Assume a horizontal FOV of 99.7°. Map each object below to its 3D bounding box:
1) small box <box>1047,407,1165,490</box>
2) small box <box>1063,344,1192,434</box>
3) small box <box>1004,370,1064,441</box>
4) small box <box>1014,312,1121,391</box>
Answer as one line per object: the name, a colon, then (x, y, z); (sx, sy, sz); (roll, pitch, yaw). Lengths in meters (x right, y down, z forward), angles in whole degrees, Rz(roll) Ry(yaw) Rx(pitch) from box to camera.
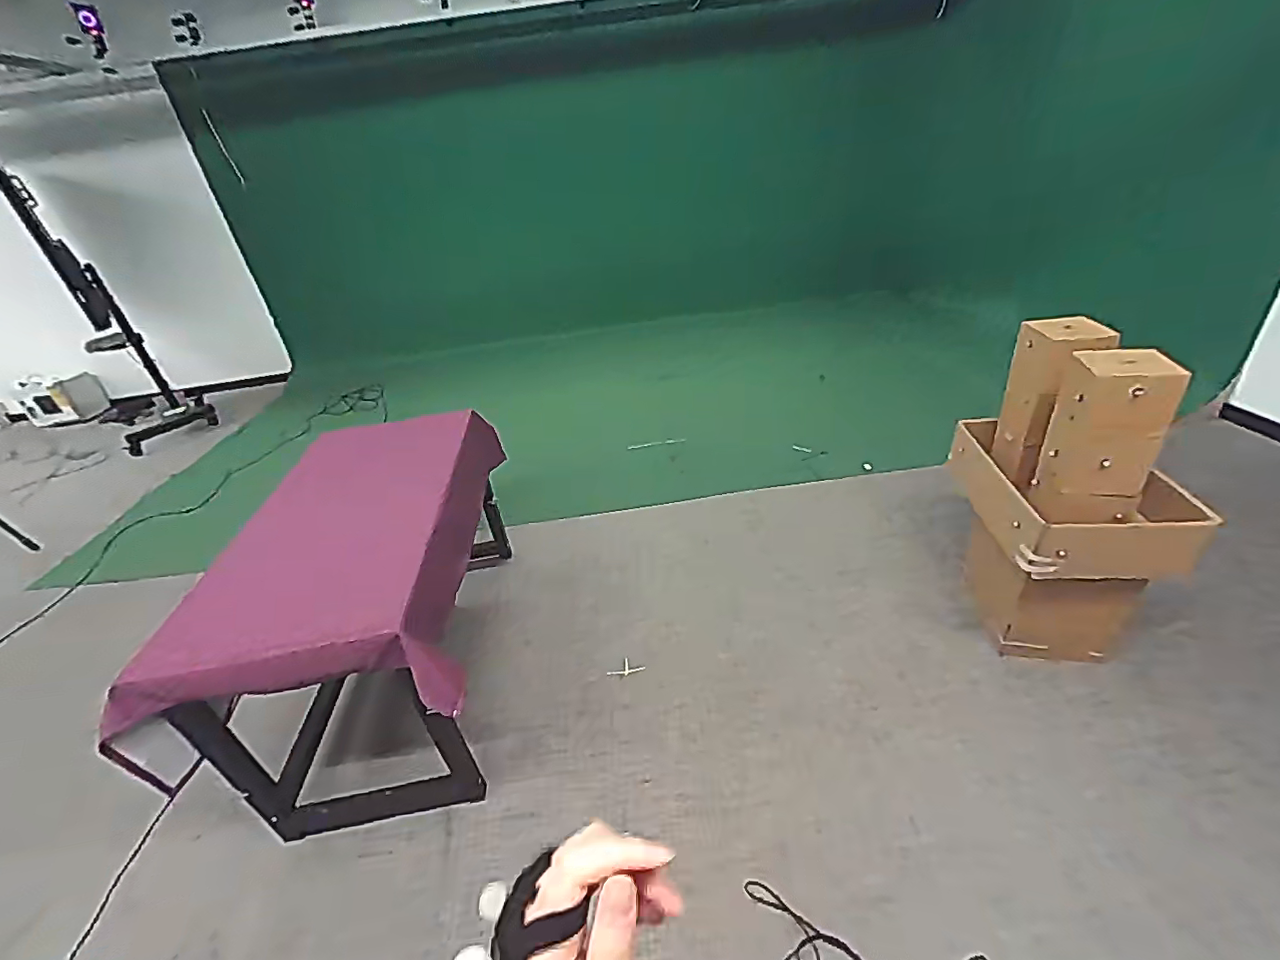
small box: (1.200, -0.084, 1.412); (0.179, 0.176, 0.168); (0, 33, 16)
small box: (1.177, -0.222, 1.328); (0.179, 0.176, 0.168); (2, 34, 16)
small box: (1.245, -0.233, 1.647); (0.168, 0.176, 0.179); (-4, 33, 9)
small box: (1.219, -0.370, 1.559); (0.168, 0.176, 0.179); (-5, 33, 9)
